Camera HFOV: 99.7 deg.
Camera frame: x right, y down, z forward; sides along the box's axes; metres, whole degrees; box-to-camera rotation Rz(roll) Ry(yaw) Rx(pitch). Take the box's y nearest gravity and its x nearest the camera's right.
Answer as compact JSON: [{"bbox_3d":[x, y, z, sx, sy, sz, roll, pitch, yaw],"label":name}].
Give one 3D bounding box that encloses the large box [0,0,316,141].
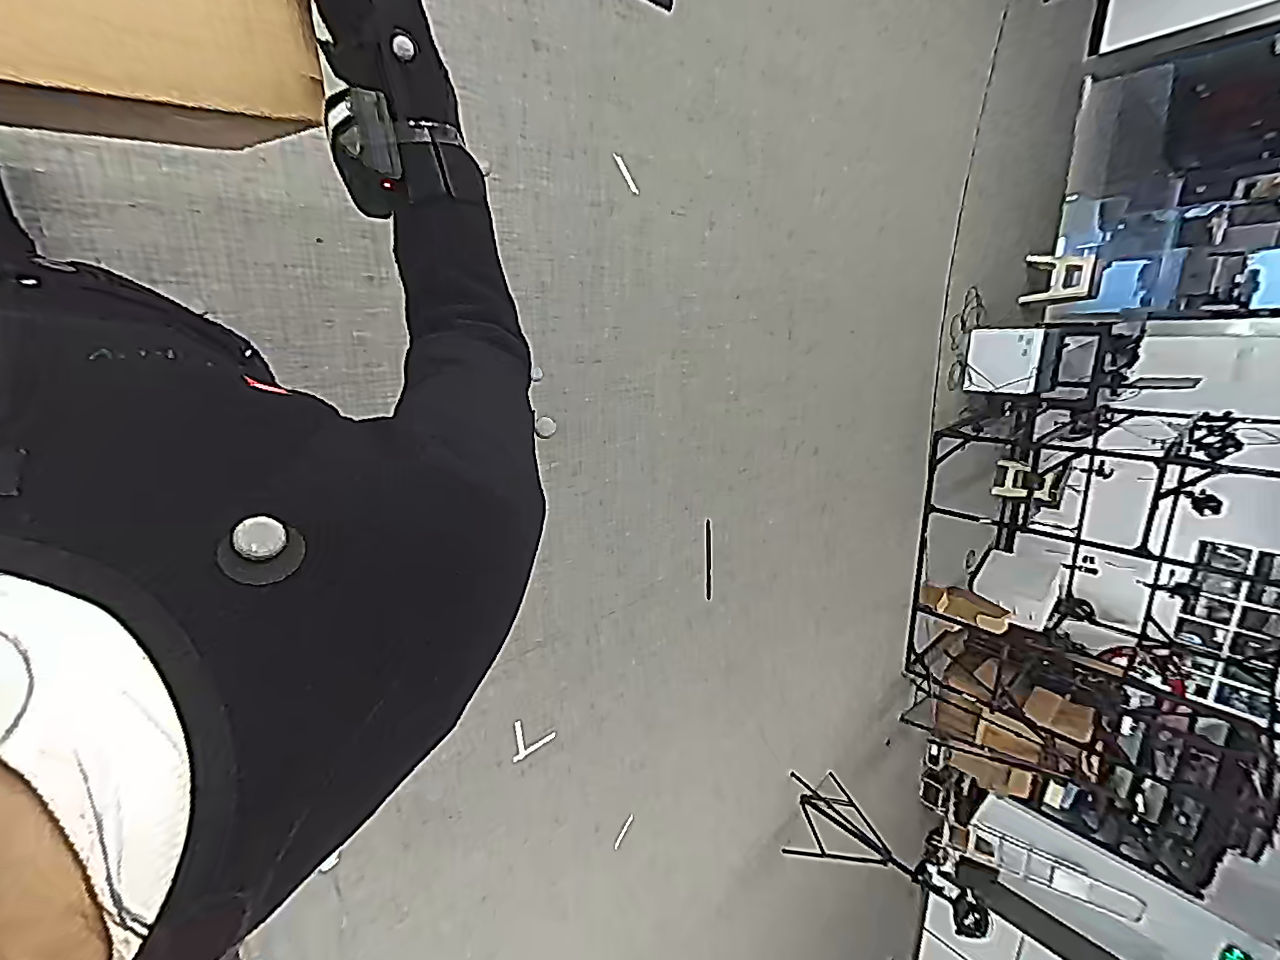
[{"bbox_3d":[-0.476,-0.399,0.301,0.408,0.320,0.320,-20,125,-39],"label":"large box"}]
